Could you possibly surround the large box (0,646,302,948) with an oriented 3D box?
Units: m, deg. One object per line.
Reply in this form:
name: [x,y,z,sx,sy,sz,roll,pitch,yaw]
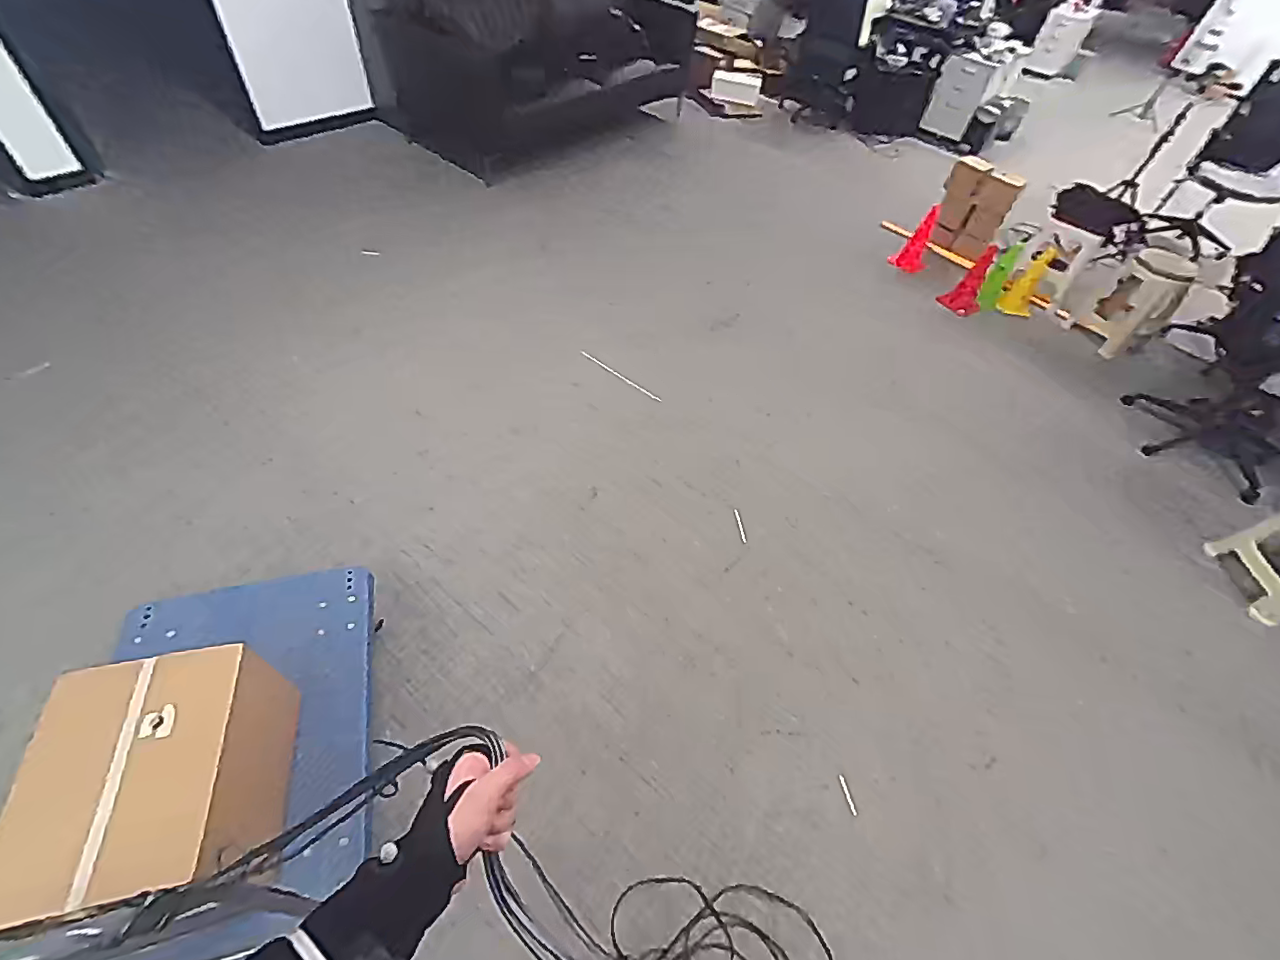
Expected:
large box: [-0.897,0.597,1.041,0.320,0.320,0.408,-7,52,-13]
